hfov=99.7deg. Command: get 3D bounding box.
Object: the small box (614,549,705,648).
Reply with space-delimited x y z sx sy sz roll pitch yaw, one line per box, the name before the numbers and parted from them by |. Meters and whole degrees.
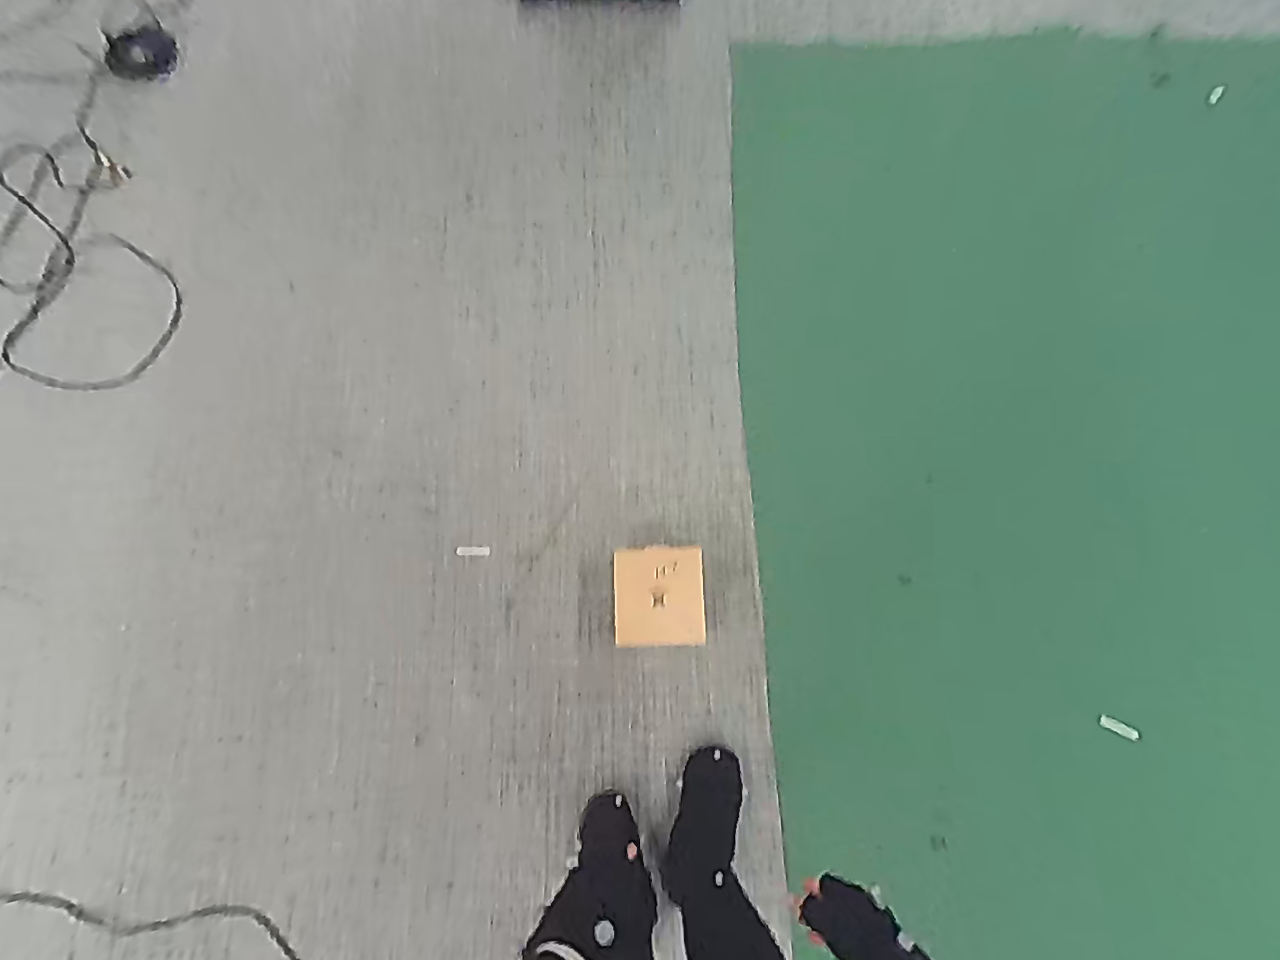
small box | 0.035 0.231 1.063 0.168 0.176 0.179 -1 77 -1
